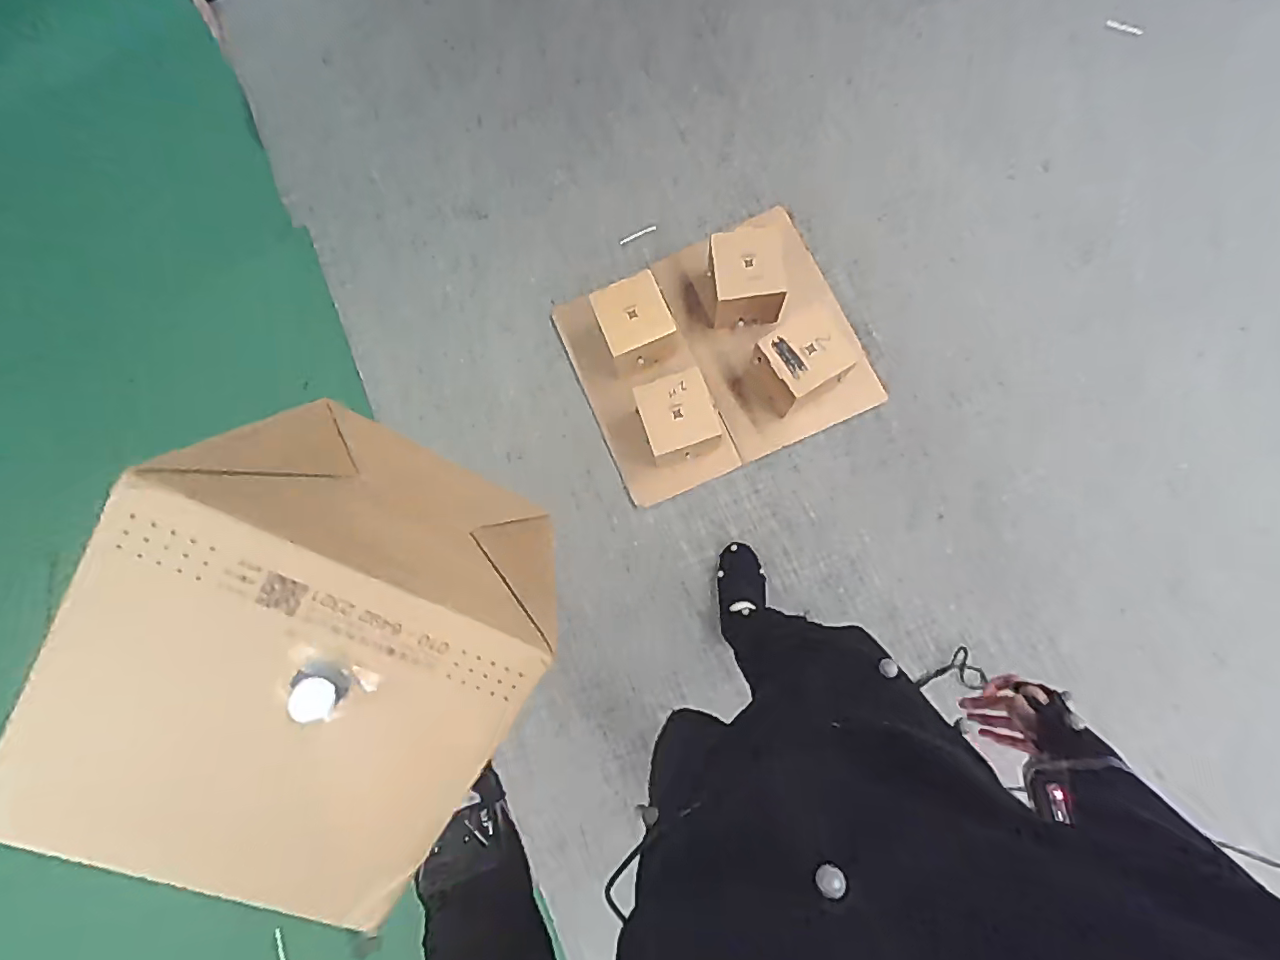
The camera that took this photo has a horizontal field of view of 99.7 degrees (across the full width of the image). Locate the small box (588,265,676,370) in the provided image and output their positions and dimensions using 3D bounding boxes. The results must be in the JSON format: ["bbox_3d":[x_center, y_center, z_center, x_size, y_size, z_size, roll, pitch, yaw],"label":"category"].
[{"bbox_3d":[-0.012,-0.397,1.364,0.168,0.176,0.179,-22,80,1],"label":"small box"}]

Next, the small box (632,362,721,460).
[{"bbox_3d":[0.091,-0.157,1.316,0.168,0.176,0.179,-18,80,2],"label":"small box"}]

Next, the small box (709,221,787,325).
[{"bbox_3d":[0.263,-0.512,1.351,0.168,0.176,0.179,-5,80,5],"label":"small box"}]
